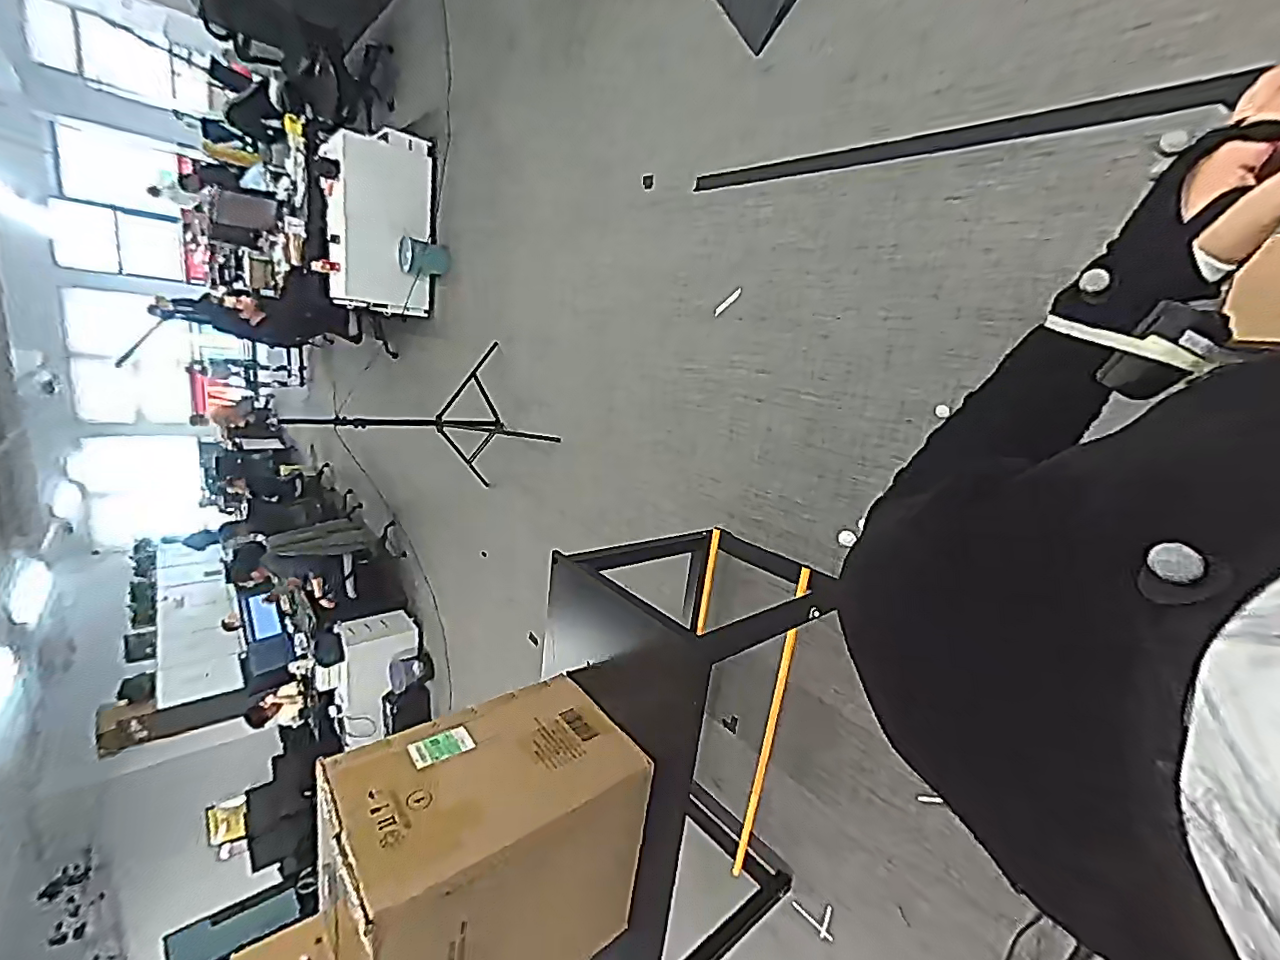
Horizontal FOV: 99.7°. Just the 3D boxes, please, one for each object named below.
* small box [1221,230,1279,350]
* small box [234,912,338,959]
[{"bbox_3d":[1.125,-0.312,0.906,0.168,0.176,0.179,22,111,47],"label":"small box"},{"bbox_3d":[-0.709,1.045,1.092,0.168,0.176,0.179,24,110,47],"label":"small box"}]
